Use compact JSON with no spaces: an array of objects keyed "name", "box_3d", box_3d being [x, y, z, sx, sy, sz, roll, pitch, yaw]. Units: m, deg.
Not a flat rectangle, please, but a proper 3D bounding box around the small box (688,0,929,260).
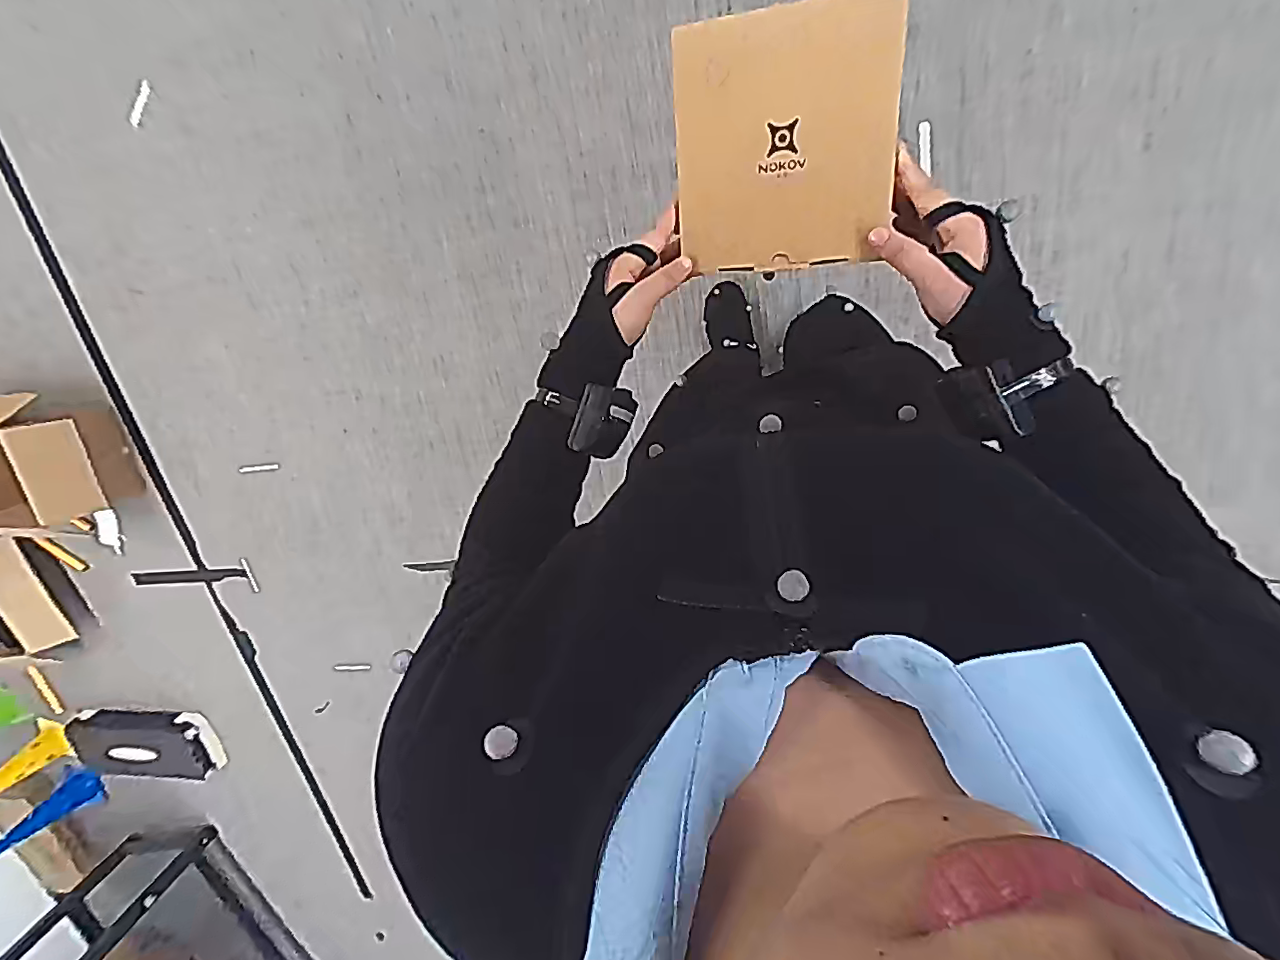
[{"name":"small box","box_3d":[0.137,-0.292,0.475,0.168,0.176,0.179,1,113,15]}]
